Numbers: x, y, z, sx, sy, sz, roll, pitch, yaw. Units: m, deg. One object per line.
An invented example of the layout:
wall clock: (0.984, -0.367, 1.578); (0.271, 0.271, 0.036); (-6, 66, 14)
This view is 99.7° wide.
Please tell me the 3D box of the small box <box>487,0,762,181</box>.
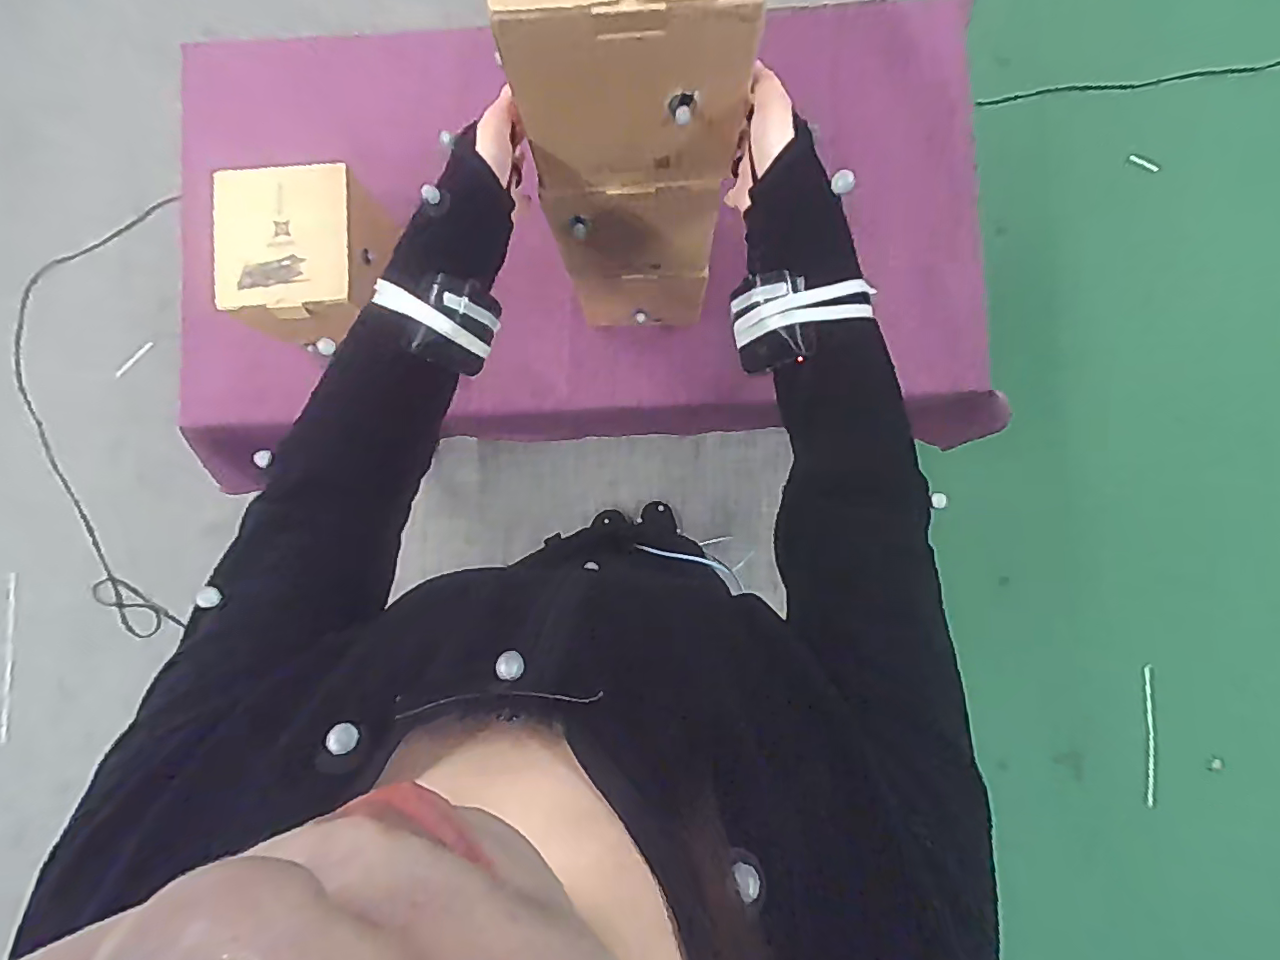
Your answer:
small box: (-0.009, -0.347, 0.400); (0.168, 0.176, 0.179); (-3, 86, 1)

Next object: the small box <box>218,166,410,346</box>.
small box: (-0.430, -0.290, 0.738); (0.168, 0.176, 0.179); (-3, 86, 1)

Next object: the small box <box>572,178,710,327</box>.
small box: (0.003, -0.320, 0.727); (0.168, 0.176, 0.179); (0, 87, 2)
